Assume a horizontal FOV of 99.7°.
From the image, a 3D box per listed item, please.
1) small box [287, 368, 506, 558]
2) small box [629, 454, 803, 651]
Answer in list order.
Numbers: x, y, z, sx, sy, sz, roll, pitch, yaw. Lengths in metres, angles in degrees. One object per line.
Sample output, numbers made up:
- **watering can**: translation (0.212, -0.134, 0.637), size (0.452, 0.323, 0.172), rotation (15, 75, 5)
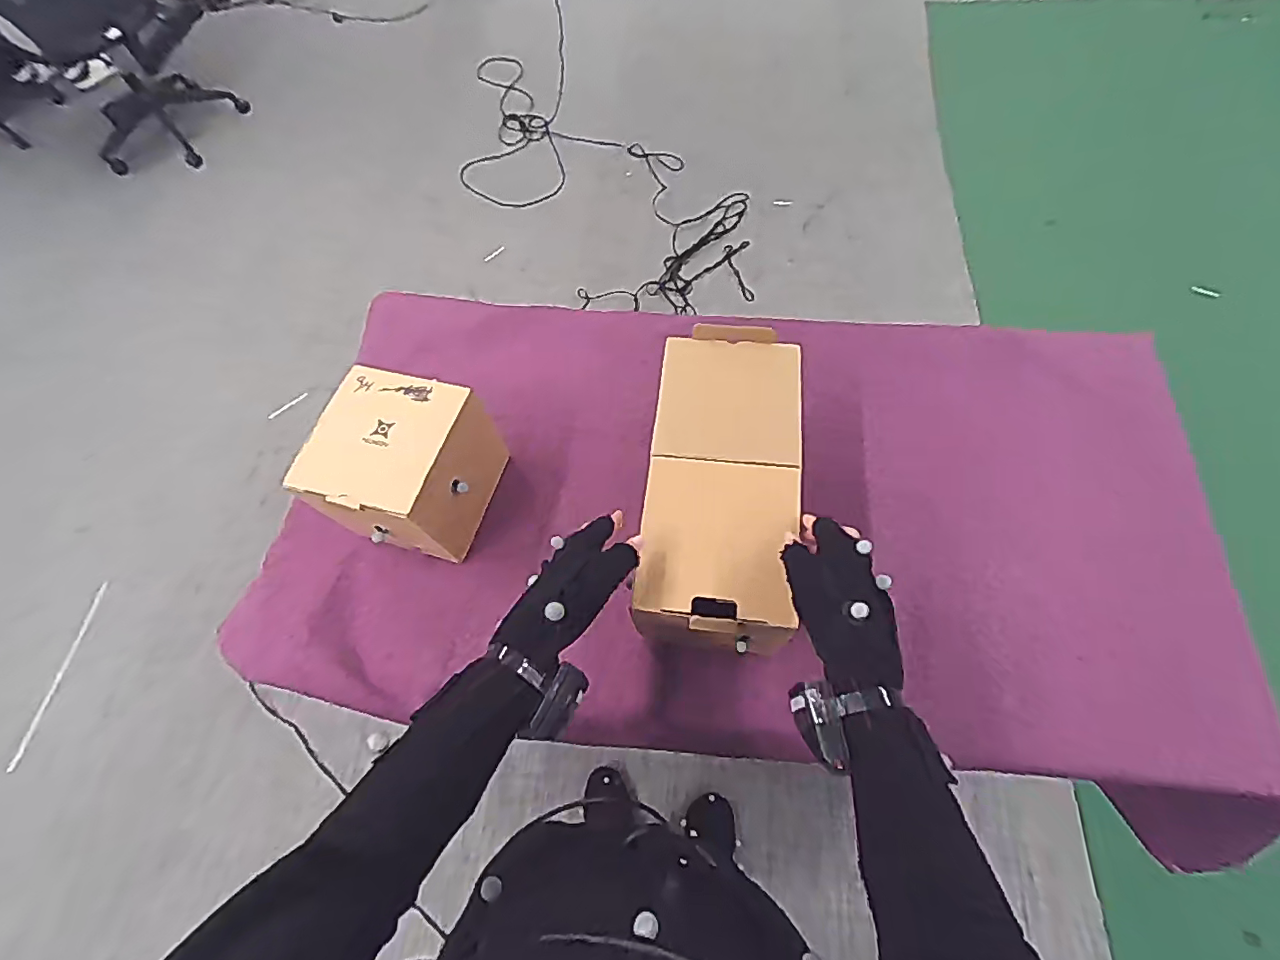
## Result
- **small box**: translation (-0.295, -0.014, 0.704), size (0.168, 0.176, 0.179), rotation (13, 66, 10)
- **small box**: translation (0.087, 0.091, 0.623), size (0.168, 0.176, 0.179), rotation (5, 64, 7)
